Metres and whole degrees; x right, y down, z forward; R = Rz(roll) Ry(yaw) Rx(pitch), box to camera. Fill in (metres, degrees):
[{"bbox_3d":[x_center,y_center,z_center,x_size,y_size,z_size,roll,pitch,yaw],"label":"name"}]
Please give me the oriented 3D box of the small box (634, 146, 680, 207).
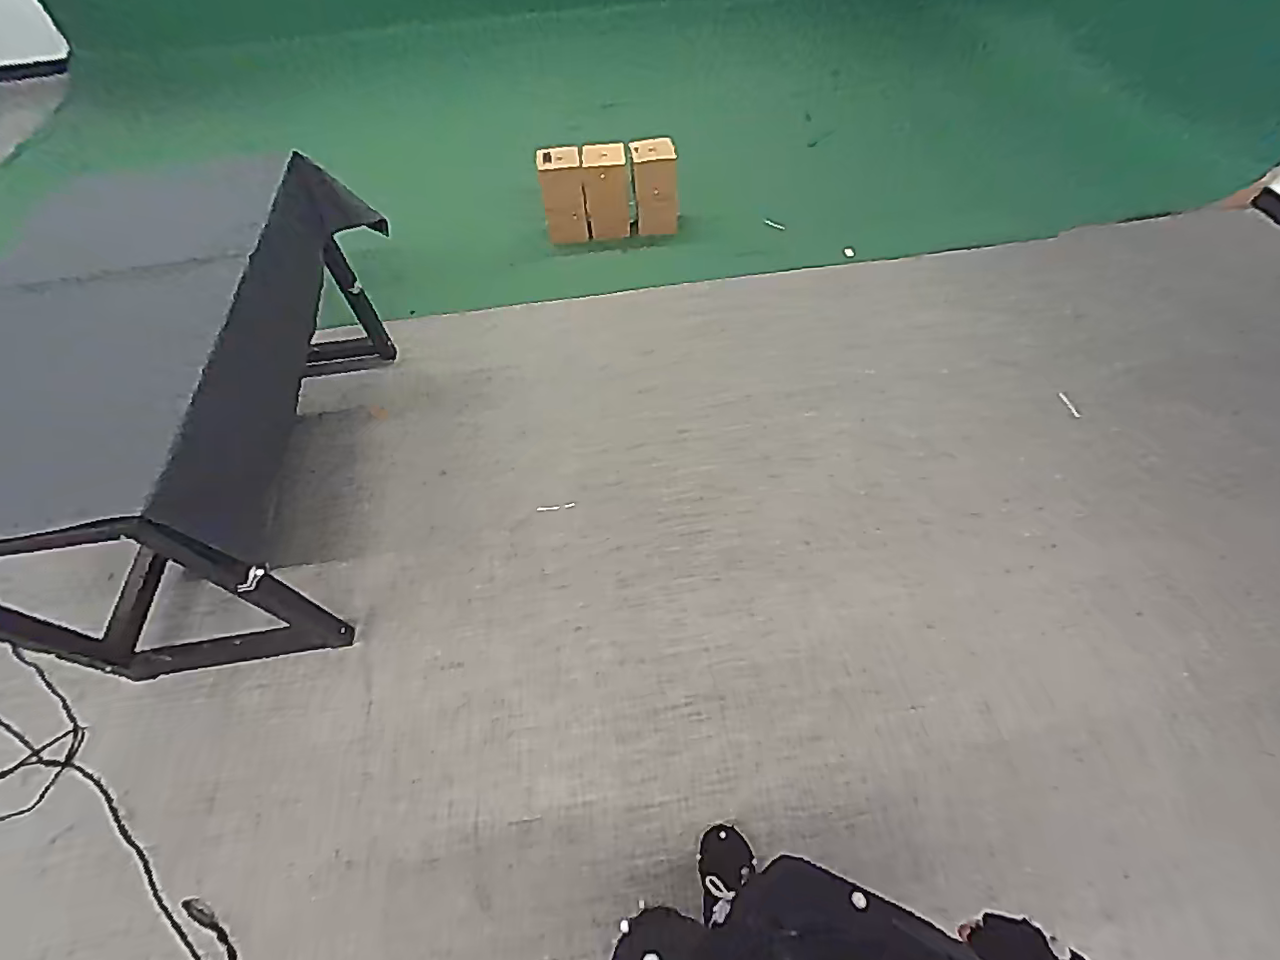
[{"bbox_3d":[0.068,-1.294,2.308,0.179,0.176,0.168,-7,56,-3],"label":"small box"}]
